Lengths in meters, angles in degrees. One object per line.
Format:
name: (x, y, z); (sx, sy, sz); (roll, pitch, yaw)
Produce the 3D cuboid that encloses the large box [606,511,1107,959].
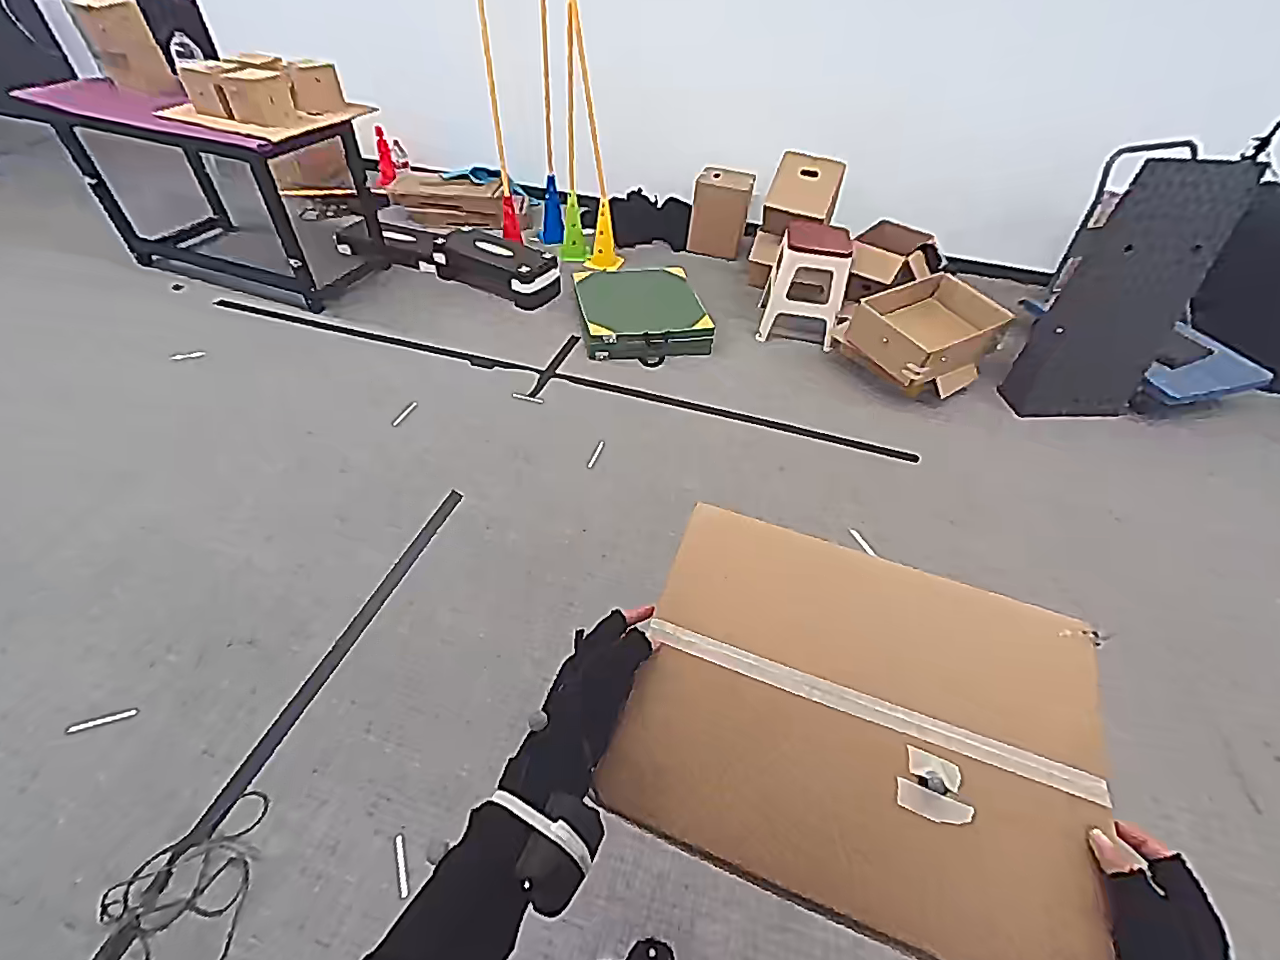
large box: (0.206, 0.290, 0.628); (0.408, 0.320, 0.320); (18, 59, 12)
